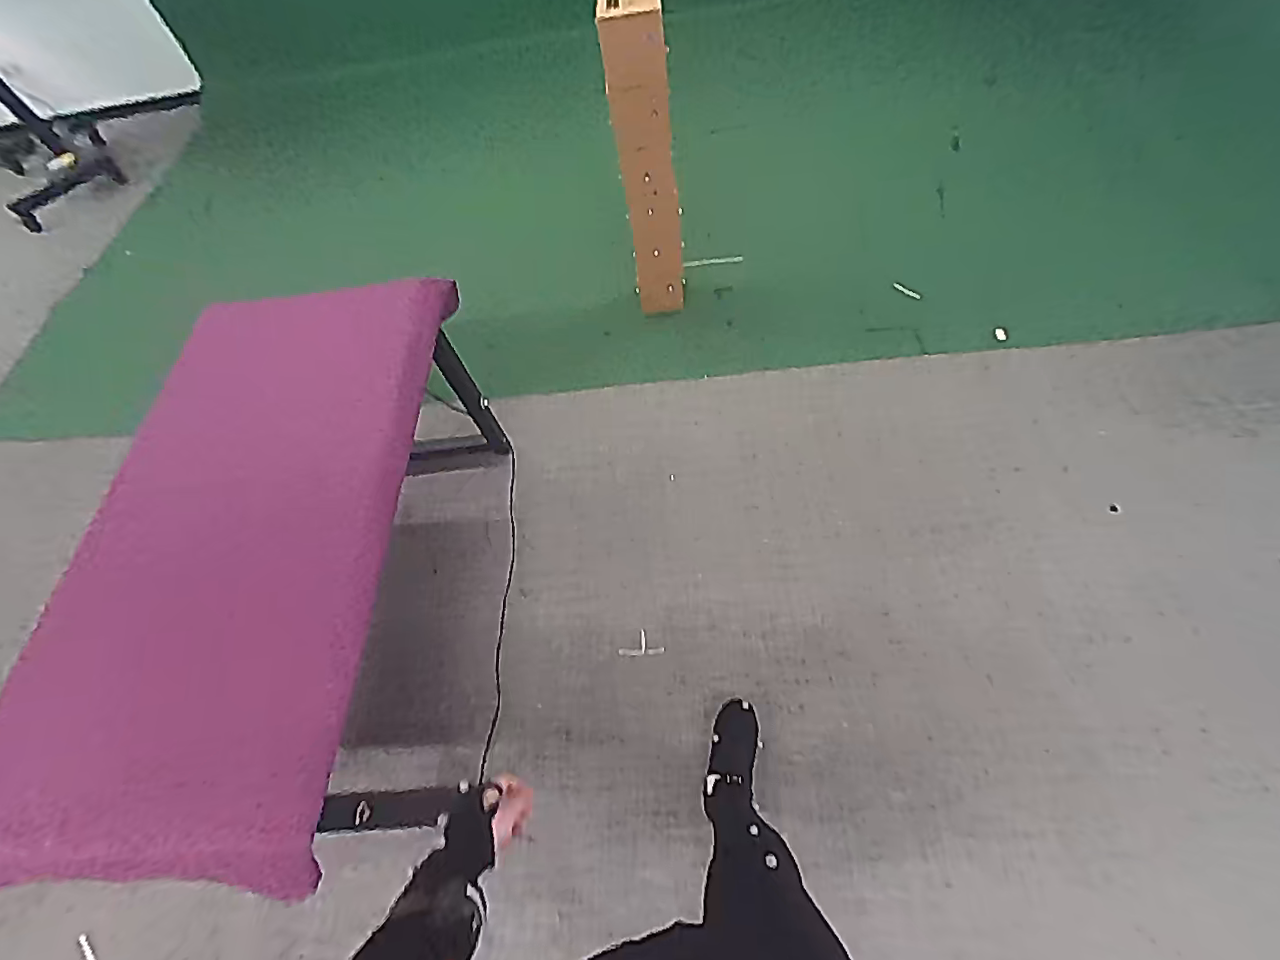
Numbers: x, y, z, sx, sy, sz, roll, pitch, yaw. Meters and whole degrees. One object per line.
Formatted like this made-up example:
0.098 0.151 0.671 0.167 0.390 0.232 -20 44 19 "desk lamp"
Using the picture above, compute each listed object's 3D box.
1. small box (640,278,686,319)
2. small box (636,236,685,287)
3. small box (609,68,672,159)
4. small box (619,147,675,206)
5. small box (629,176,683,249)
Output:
0.096 -0.782 2.214 0.179 0.176 0.168 -5 58 6 "small box"
0.080 -0.868 2.078 0.179 0.176 0.168 -7 58 5 "small box"
0.005 -1.124 1.666 0.179 0.176 0.168 -7 57 6 "small box"
0.025 -1.038 1.804 0.168 0.176 0.179 -7 59 5 "small box"
0.055 -0.954 1.940 0.179 0.176 0.168 -8 59 4 "small box"
